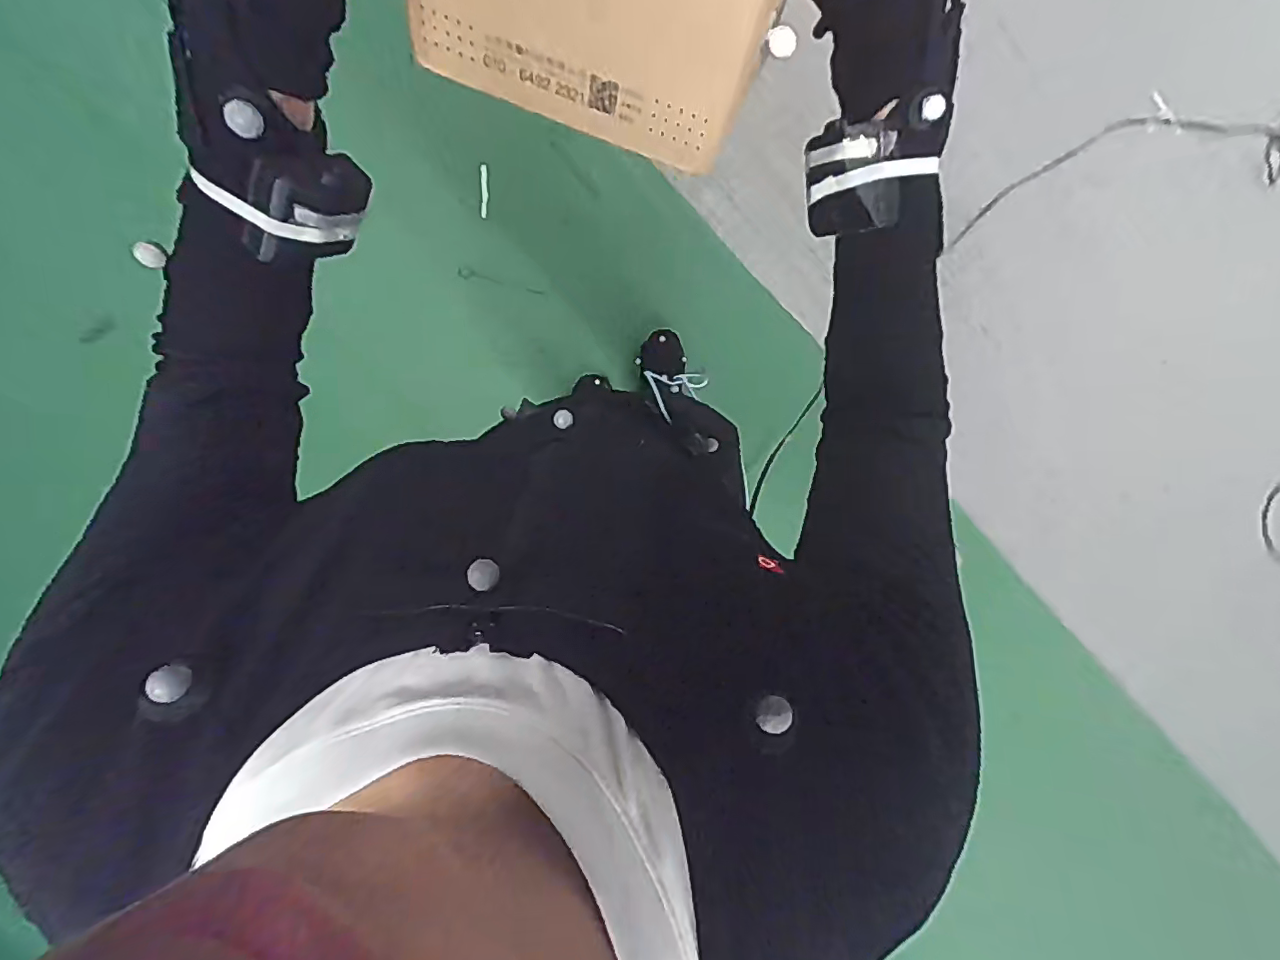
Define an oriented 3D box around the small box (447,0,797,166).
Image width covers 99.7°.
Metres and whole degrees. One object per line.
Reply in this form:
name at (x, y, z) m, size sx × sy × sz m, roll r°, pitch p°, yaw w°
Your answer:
small box at (0.010, -0.299, 0.266) m, size 0.168 × 0.176 × 0.179 m, roll 23°, pitch 57°, yaw 0°
